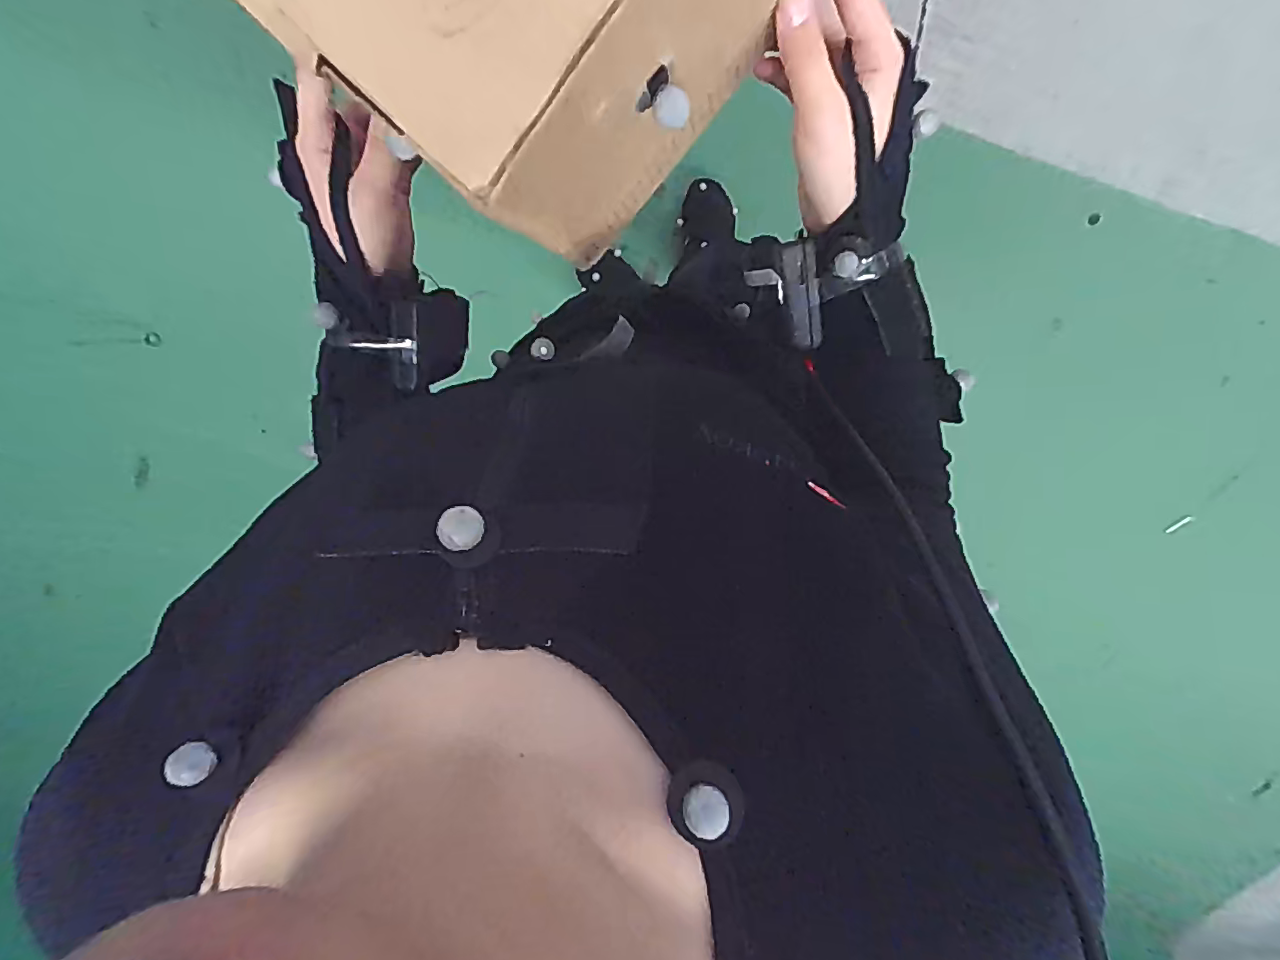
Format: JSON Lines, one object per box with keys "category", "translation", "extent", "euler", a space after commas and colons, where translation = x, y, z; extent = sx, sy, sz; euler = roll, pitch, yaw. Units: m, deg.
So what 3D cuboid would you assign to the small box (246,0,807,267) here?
{"category": "small box", "translation": [-0.036, -0.209, 0.210], "extent": [0.168, 0.176, 0.179], "euler": [43, 105, -5]}
